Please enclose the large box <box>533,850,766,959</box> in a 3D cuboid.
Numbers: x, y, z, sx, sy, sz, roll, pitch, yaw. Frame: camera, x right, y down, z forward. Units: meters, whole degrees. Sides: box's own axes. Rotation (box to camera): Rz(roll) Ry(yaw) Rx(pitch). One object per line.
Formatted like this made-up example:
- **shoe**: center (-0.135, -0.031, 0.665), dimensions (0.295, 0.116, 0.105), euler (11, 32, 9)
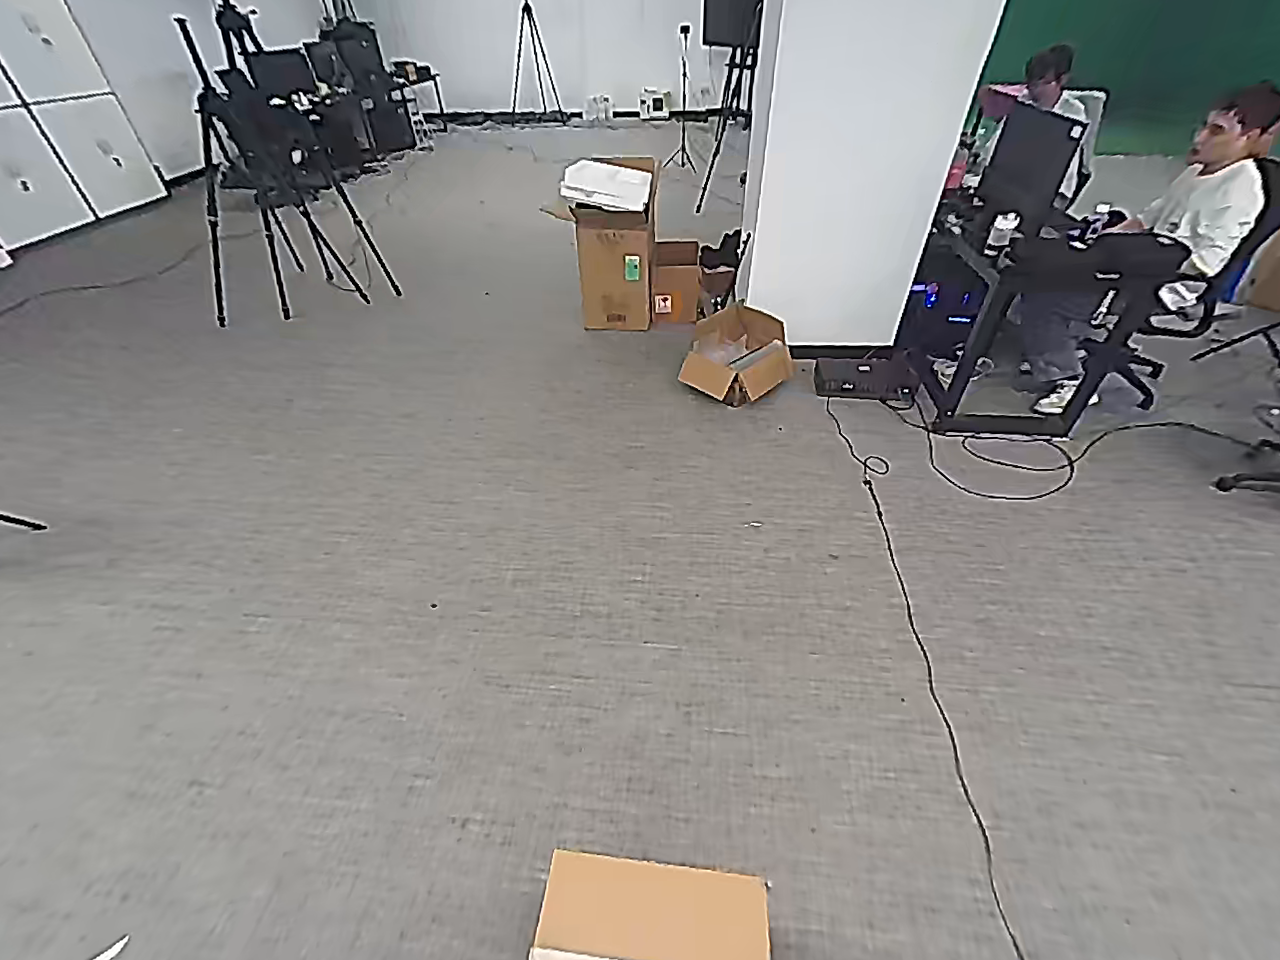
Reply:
- **large box**: center (0.013, 0.938, 1.008), dimensions (0.408, 0.320, 0.320), euler (4, 42, 5)
